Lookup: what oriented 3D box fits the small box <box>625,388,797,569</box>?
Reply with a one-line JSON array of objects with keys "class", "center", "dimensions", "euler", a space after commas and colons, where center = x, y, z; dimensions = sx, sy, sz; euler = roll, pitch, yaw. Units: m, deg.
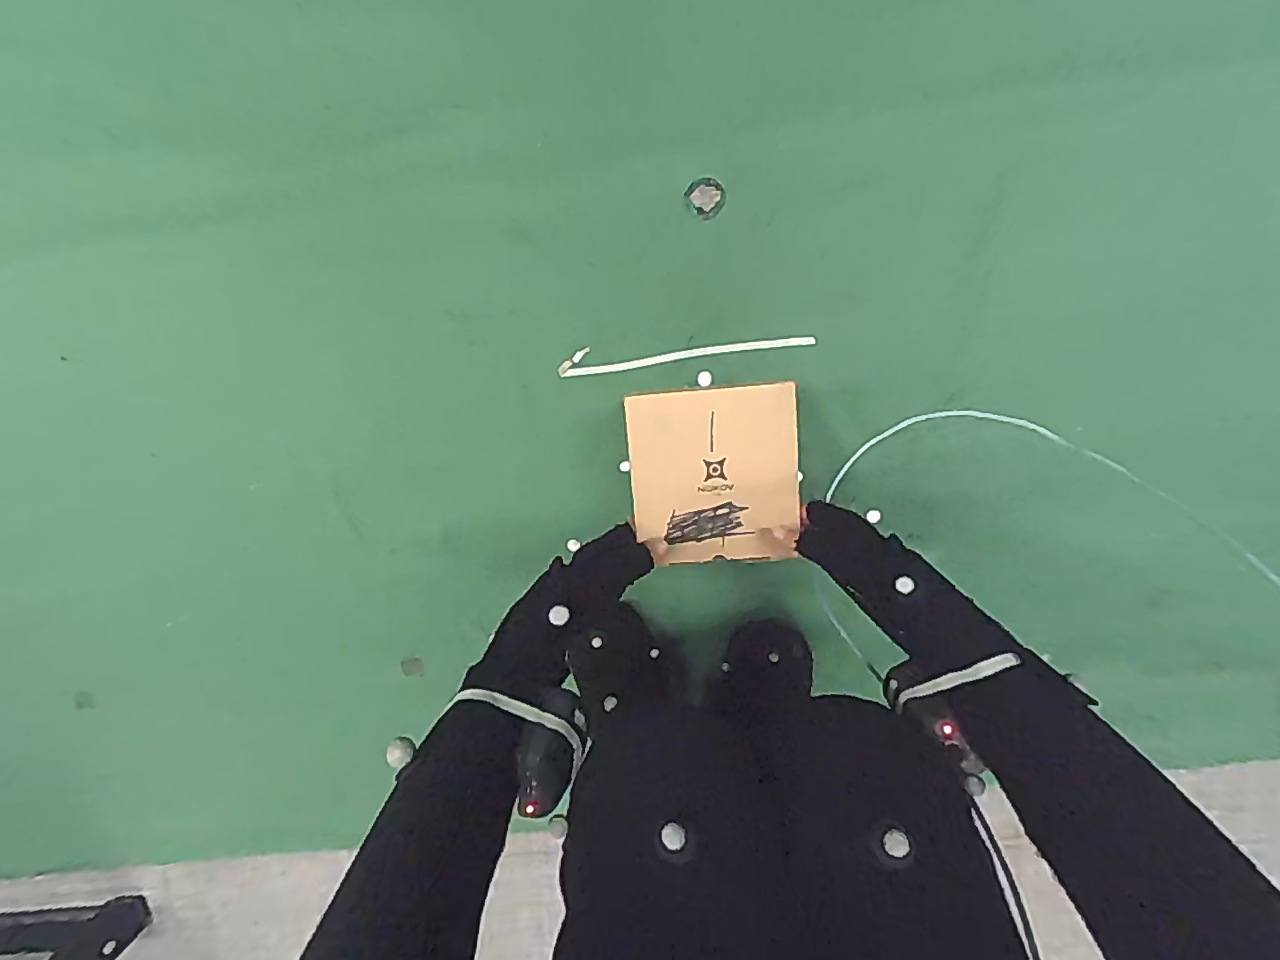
[{"class": "small box", "center": [0.076, -0.012, 0.614], "dimensions": [0.168, 0.176, 0.179], "euler": [-4, 98, 2]}]
